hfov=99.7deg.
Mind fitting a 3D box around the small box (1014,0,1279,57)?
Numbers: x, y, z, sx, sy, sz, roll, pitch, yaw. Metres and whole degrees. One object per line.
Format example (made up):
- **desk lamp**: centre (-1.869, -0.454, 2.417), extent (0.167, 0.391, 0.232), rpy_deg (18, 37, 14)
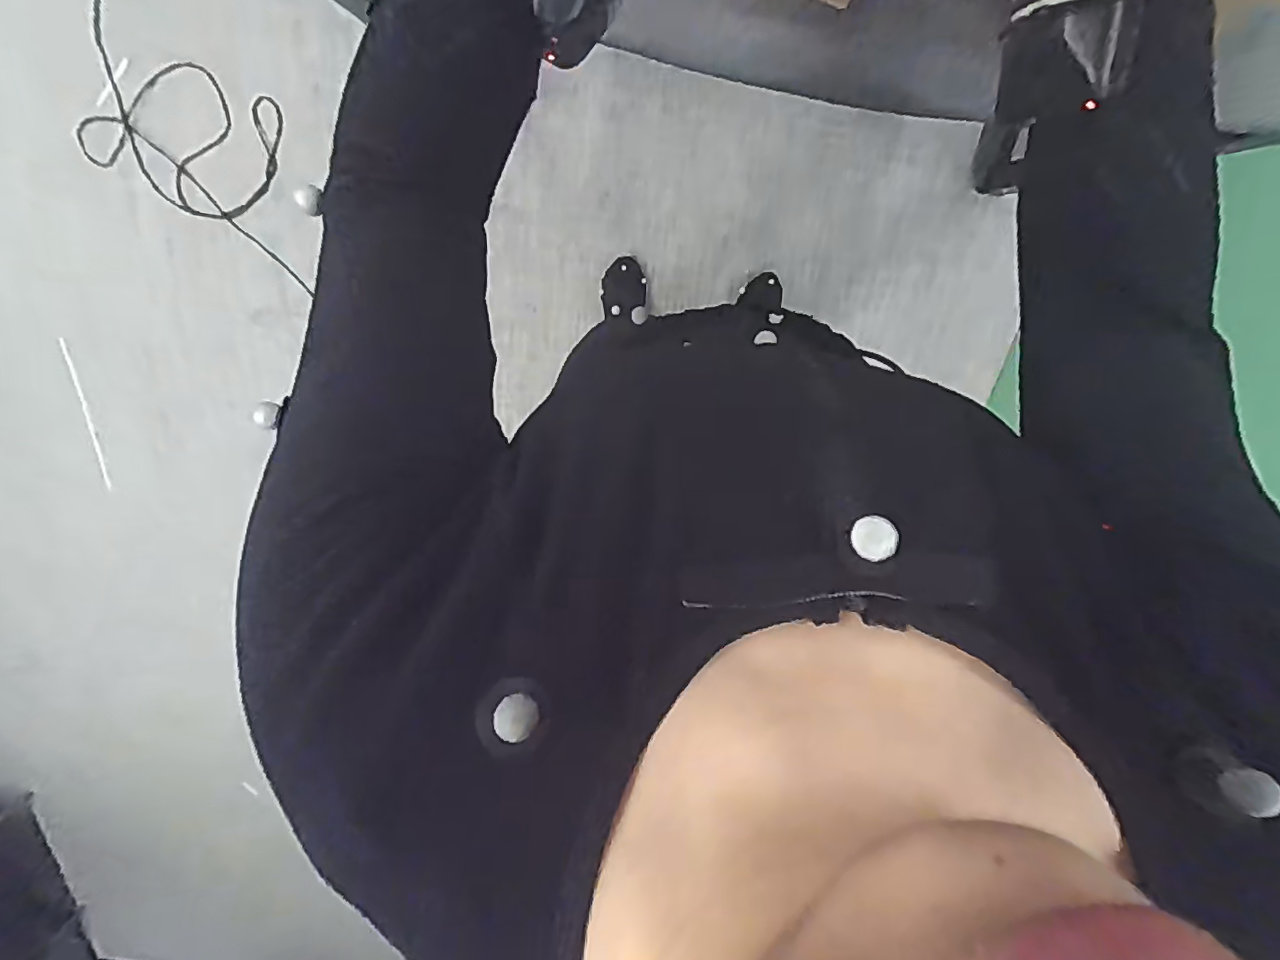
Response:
- **small box**: centre (0.454, -0.489, 0.440), extent (0.168, 0.176, 0.179), rpy_deg (10, 112, 1)
